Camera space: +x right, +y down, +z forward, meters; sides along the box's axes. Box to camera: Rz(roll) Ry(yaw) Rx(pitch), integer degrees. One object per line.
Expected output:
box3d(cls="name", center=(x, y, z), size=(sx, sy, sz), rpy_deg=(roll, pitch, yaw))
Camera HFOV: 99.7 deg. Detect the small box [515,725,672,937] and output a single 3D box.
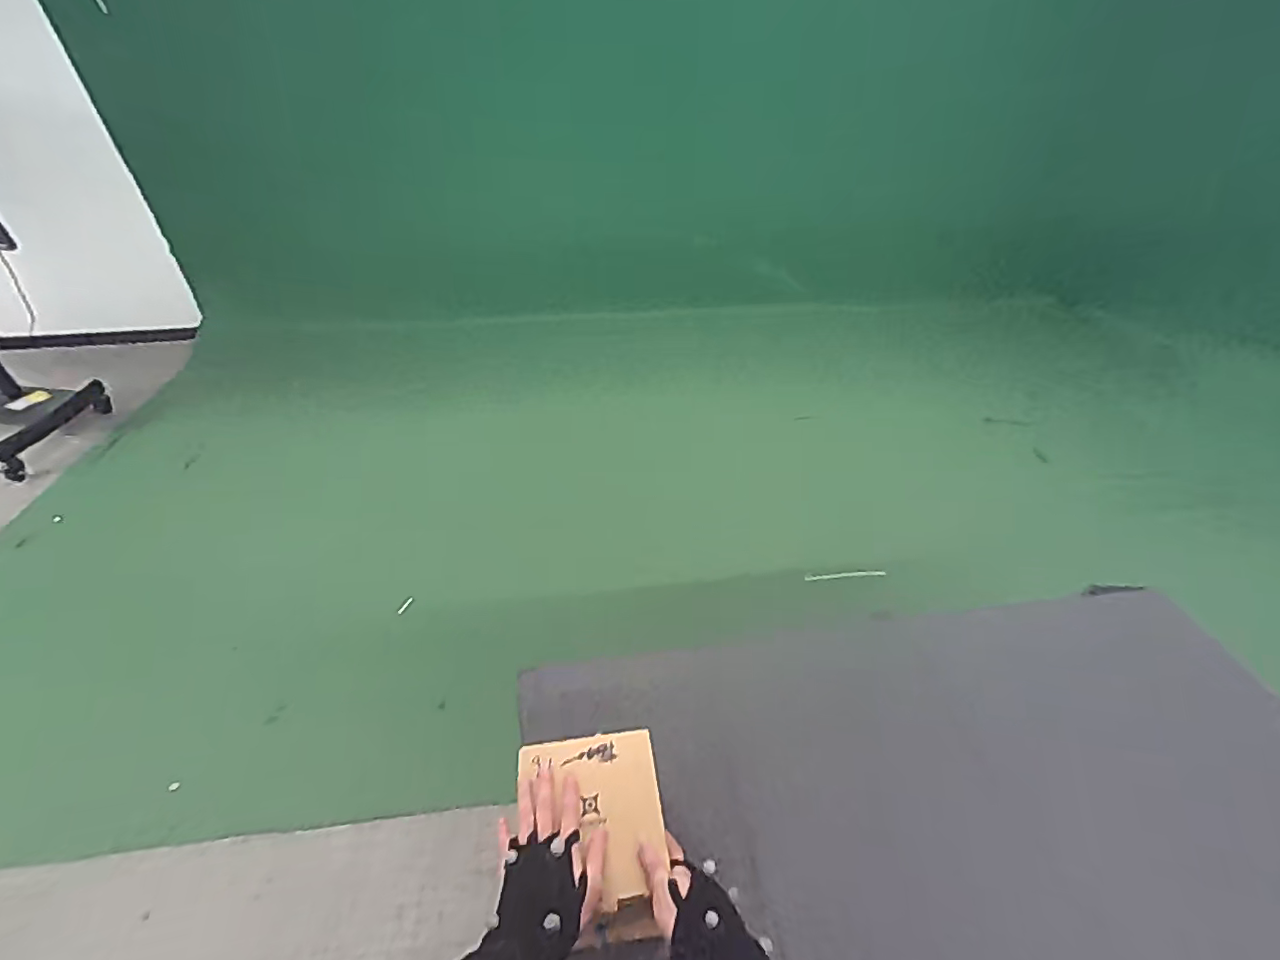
box3d(cls="small box", center=(-0.058, 0.432, 0.665), size=(0.168, 0.176, 0.179), rpy_deg=(-4, 41, -7))
